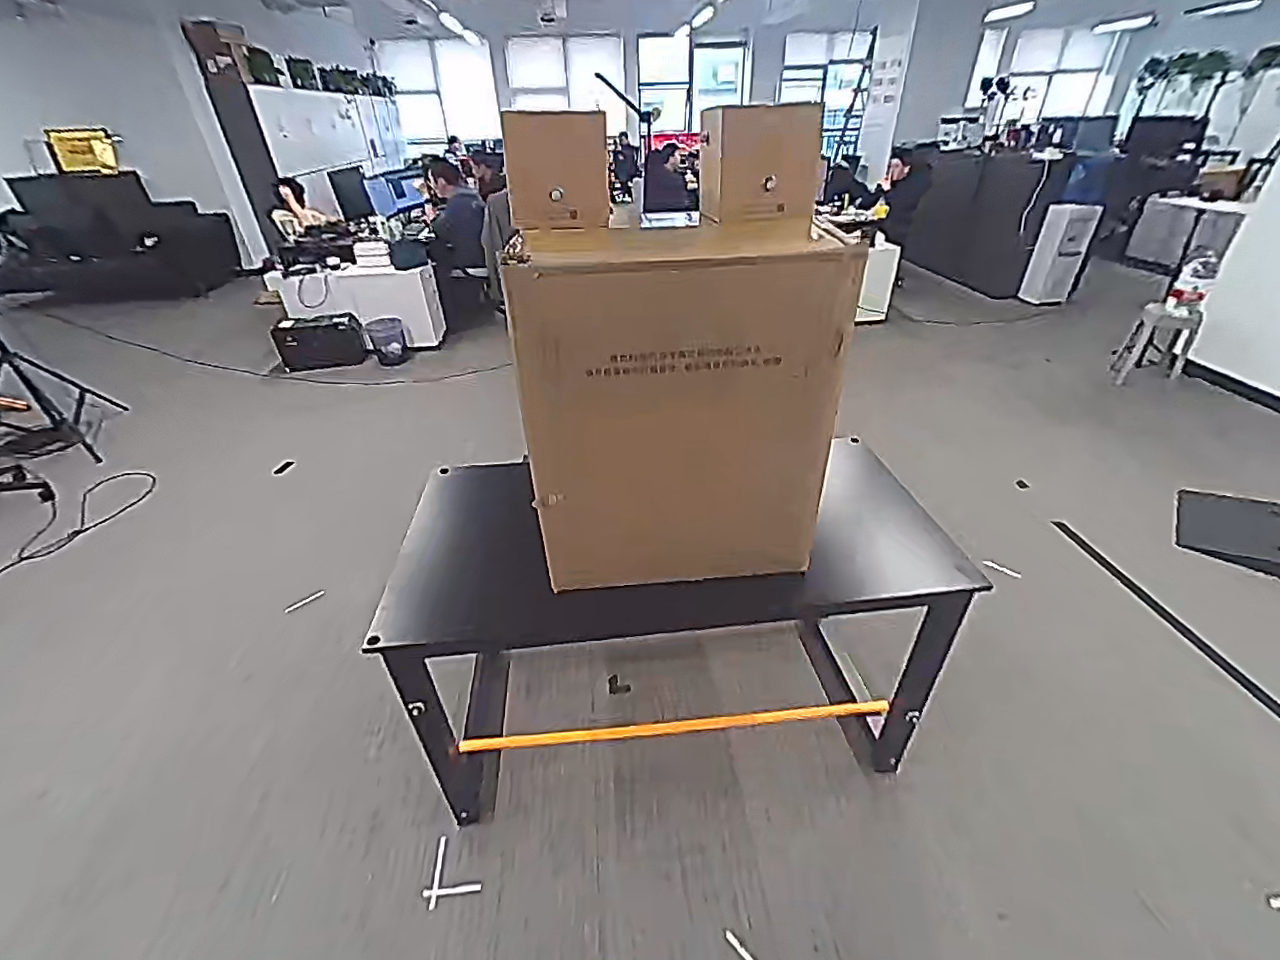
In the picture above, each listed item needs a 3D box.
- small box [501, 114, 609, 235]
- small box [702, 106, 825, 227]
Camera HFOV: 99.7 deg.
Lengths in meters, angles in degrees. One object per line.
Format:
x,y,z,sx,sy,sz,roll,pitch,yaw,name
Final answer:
-0.147,-0.530,0.940,0.168,0.176,0.179,-7,33,-9,small box
0.203,-0.545,0.945,0.168,0.176,0.179,-6,32,-3,small box
